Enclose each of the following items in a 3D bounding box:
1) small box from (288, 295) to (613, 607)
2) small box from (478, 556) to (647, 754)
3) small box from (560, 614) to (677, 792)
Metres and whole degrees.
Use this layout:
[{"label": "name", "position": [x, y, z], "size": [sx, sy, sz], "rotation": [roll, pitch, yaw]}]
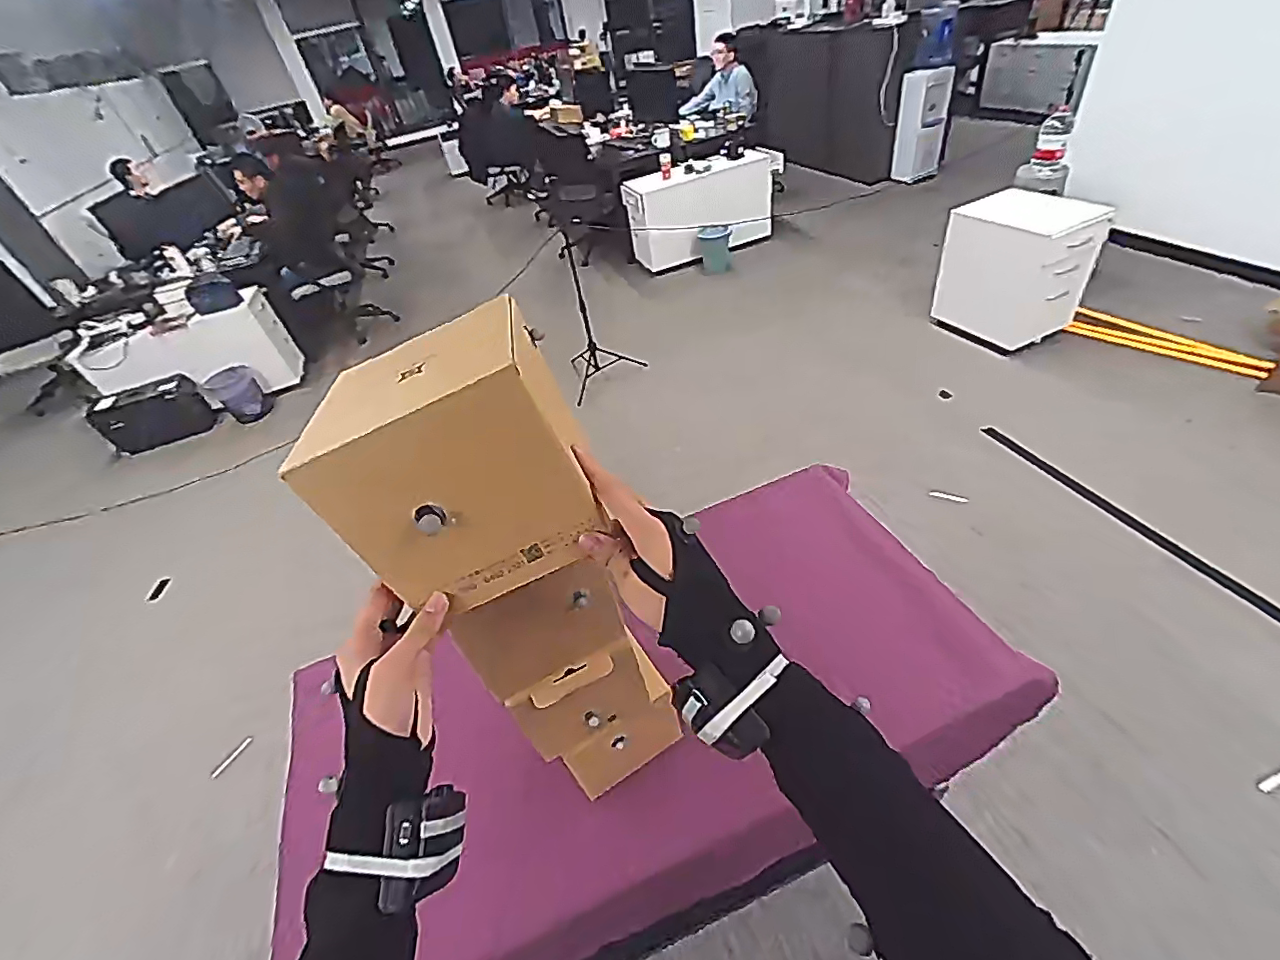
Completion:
[{"label": "small box", "position": [-0.134, -0.021, 0.447], "size": [0.168, 0.176, 0.179], "rotation": [-25, 34, 2]}, {"label": "small box", "position": [-0.106, 0.242, 0.759], "size": [0.168, 0.176, 0.179], "rotation": [-25, 43, -12]}, {"label": "small box", "position": [-0.058, 0.358, 0.867], "size": [0.179, 0.176, 0.168], "rotation": [-27, 44, -17]}]
